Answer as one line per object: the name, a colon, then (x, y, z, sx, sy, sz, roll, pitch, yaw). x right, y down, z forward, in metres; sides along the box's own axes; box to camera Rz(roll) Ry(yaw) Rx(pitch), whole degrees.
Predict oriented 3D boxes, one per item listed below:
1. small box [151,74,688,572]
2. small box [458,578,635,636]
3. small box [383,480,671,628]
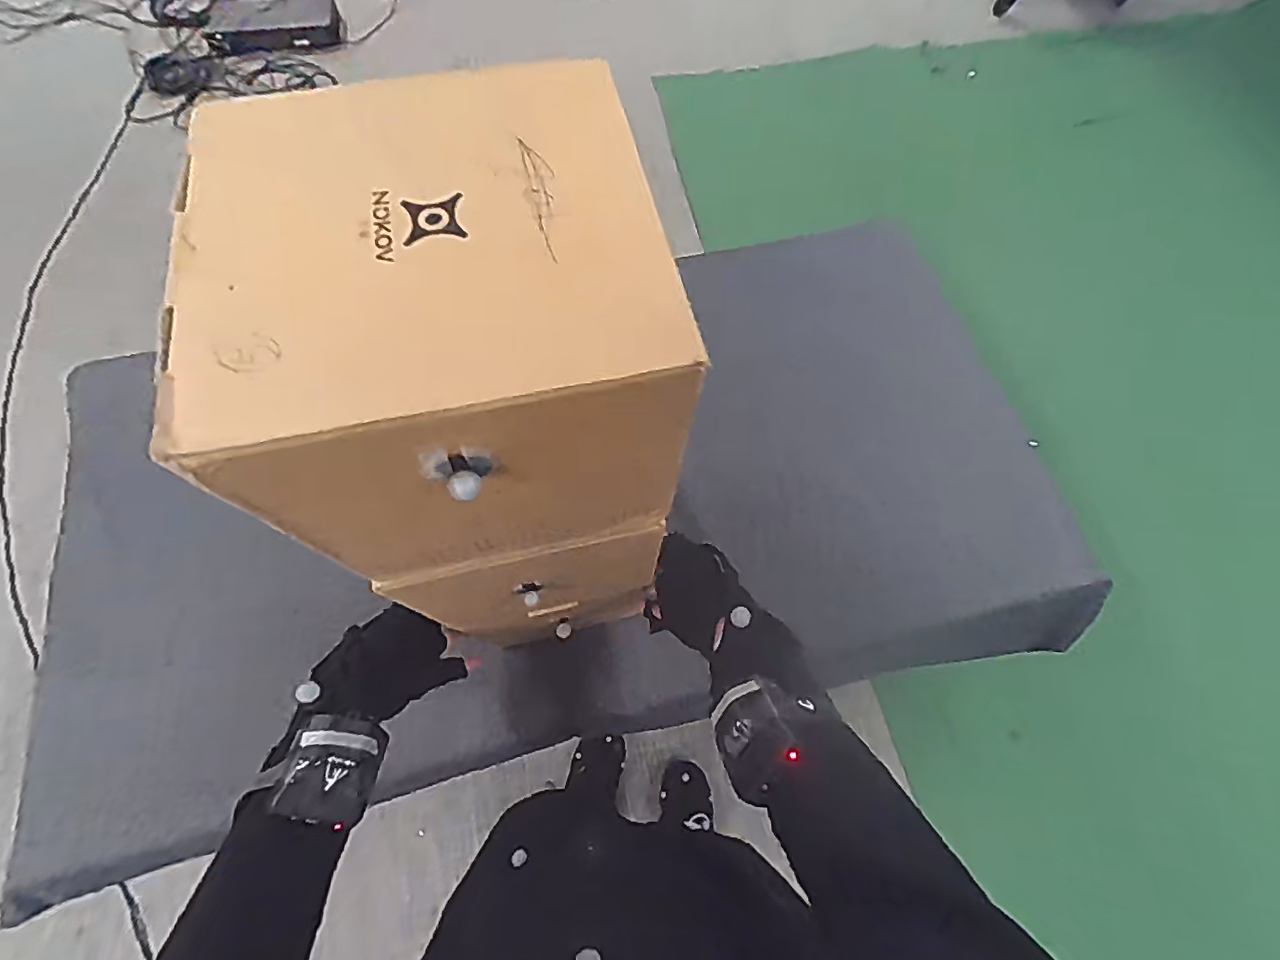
small box: (-0.086, -0.062, 0.278, 0.179, 0.176, 0.168, -11, 69, -8)
small box: (-0.102, 0.063, 0.579, 0.168, 0.176, 0.179, -13, 69, -7)
small box: (-0.090, 0.006, 0.425, 0.179, 0.176, 0.168, -14, 69, -9)
